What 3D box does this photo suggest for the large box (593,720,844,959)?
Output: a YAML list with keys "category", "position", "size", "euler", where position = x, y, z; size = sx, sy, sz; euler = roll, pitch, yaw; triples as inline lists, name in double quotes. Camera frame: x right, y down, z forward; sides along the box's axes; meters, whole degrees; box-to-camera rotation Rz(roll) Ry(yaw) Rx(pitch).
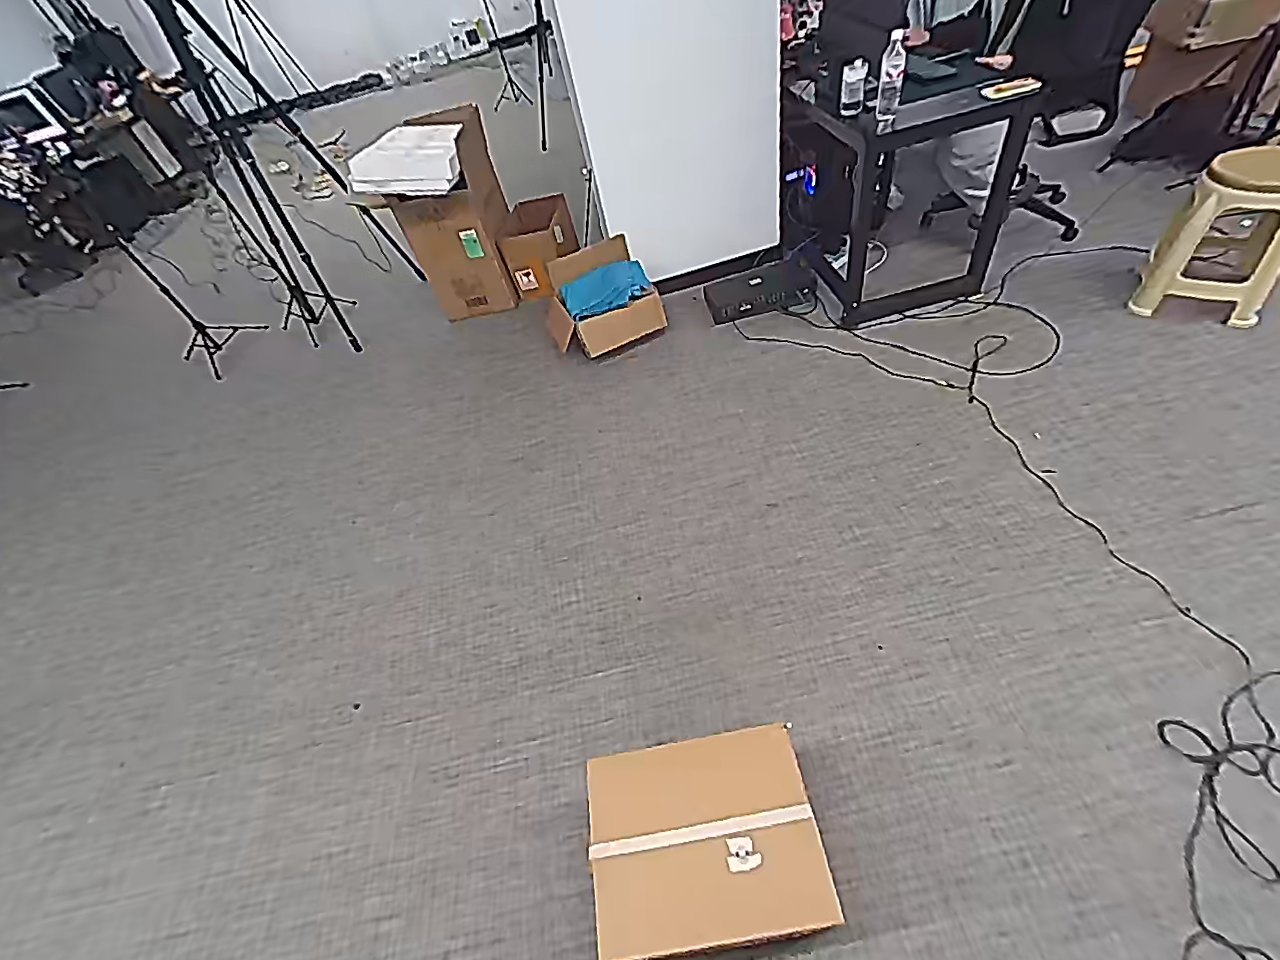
- category: "large box"
  position: [0.142, 0.726, 1.084]
  size: [0.408, 0.320, 0.320]
  euler: [-12, 48, 3]
